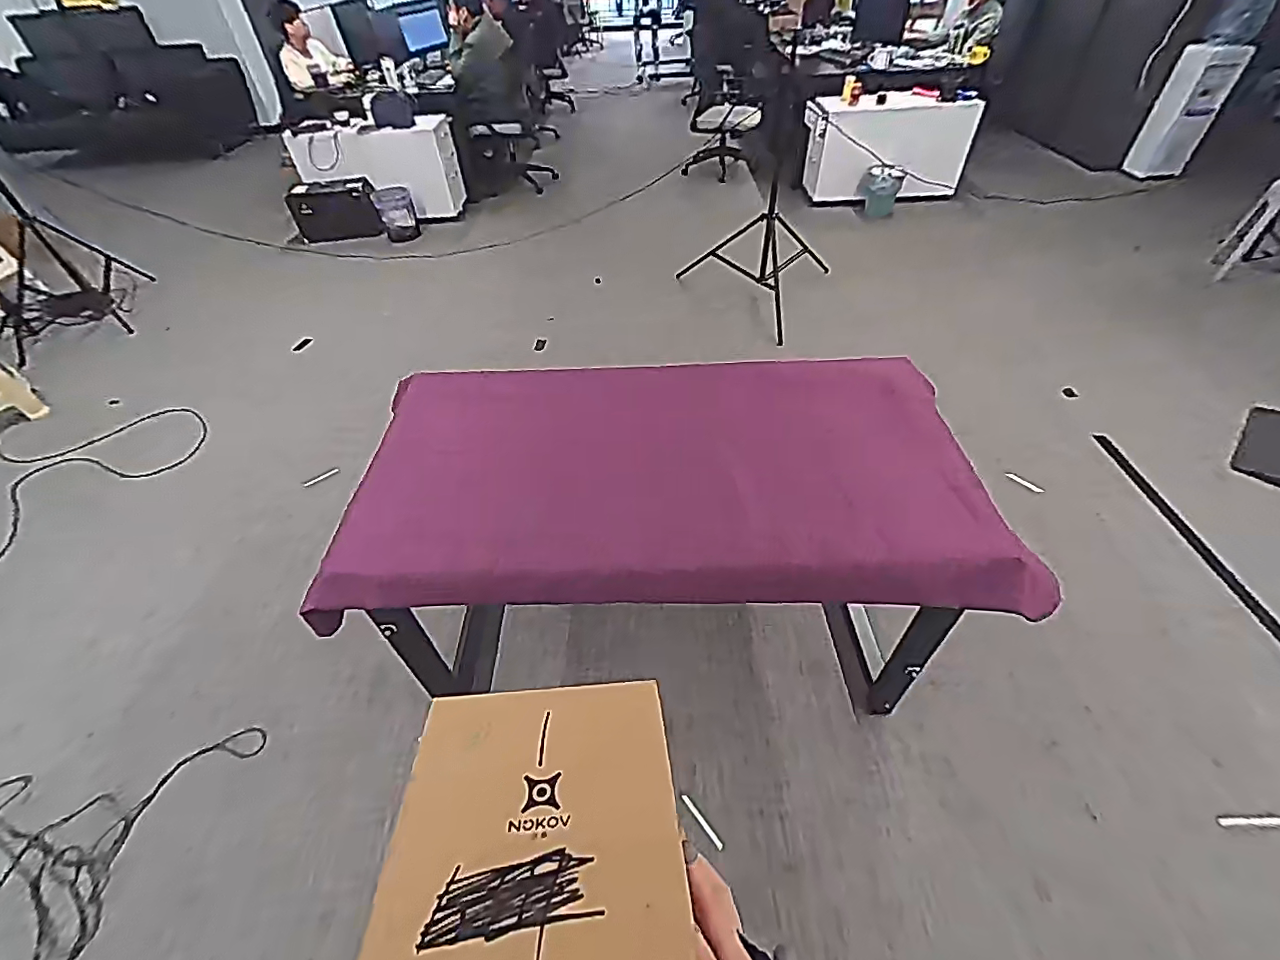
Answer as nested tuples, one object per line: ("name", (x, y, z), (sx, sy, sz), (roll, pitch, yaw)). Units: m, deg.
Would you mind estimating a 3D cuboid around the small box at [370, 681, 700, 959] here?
("small box", (-0.056, 0.268, 0.365), (0.168, 0.176, 0.179), (-3, 28, -5))
